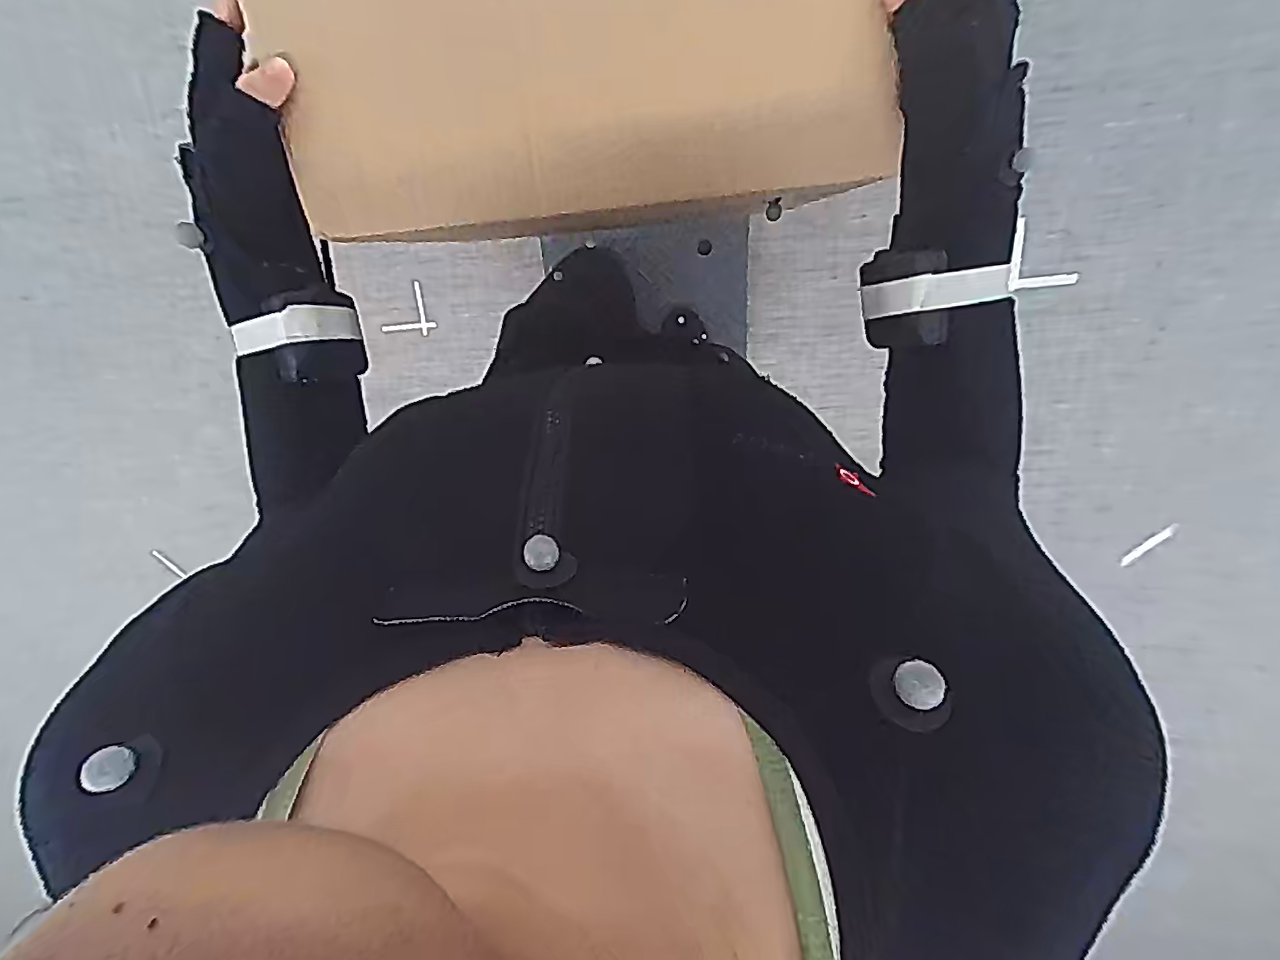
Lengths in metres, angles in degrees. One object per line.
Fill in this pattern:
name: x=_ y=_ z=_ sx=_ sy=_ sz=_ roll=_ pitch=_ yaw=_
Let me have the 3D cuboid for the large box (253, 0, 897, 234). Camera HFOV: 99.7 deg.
large box: x=-0.040 y=-0.396 z=0.453 sx=0.408 sy=0.320 sz=0.320 roll=-4 pitch=113 yaw=4

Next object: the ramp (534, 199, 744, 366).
ramp: x=-0.017 y=-0.742 z=1.175 sx=0.509 sy=0.206 sz=0.991 roll=-3 pitch=110 yaw=5
